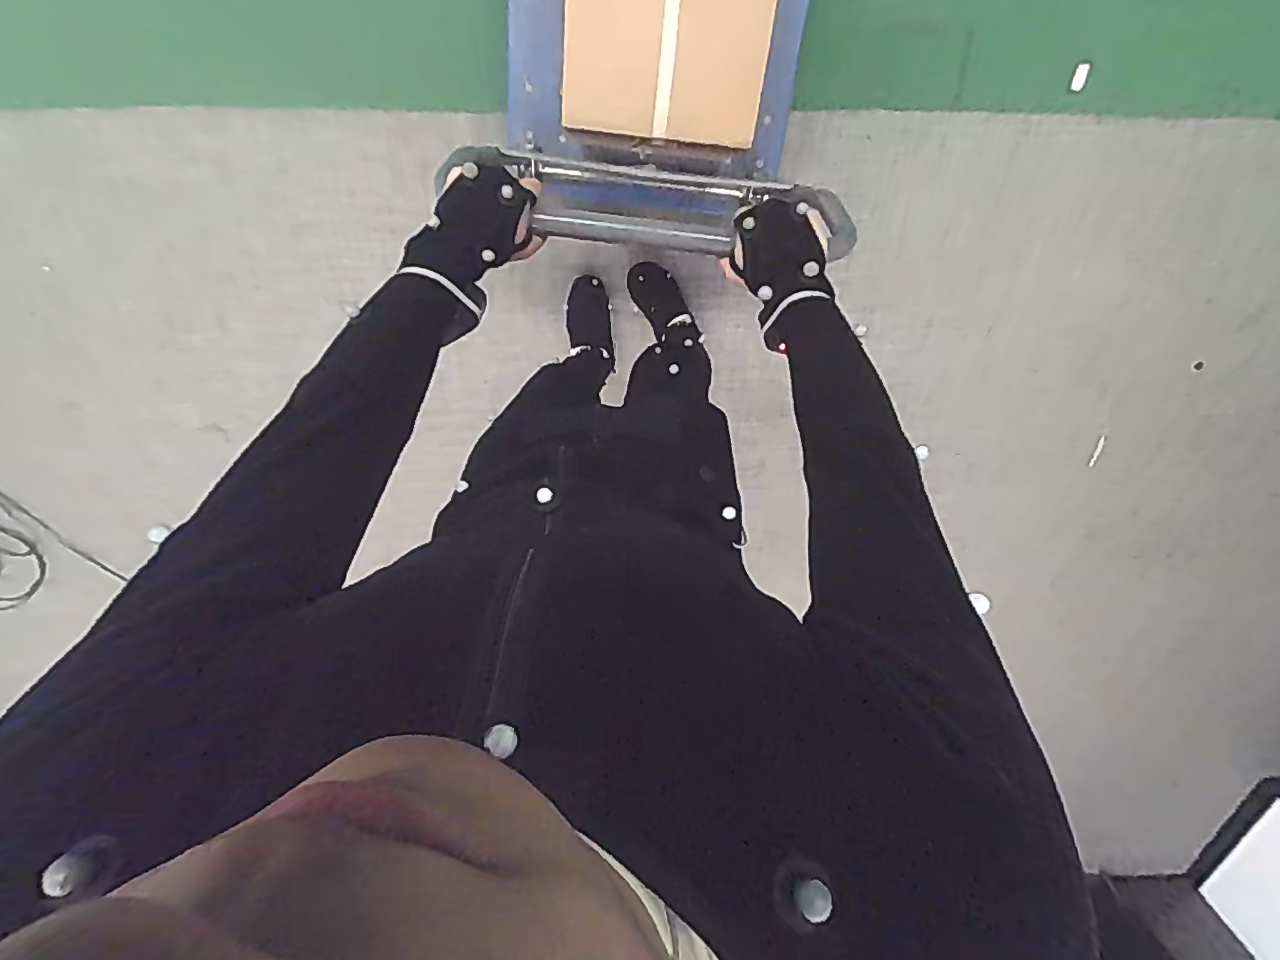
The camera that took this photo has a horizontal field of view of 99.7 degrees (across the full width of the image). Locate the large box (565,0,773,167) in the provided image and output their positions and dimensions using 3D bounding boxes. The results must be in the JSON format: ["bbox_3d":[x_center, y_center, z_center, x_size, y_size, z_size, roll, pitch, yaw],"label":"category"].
[{"bbox_3d":[0.049,-0.795,0.939,0.320,0.320,0.408,5,116,-3],"label":"large box"}]
